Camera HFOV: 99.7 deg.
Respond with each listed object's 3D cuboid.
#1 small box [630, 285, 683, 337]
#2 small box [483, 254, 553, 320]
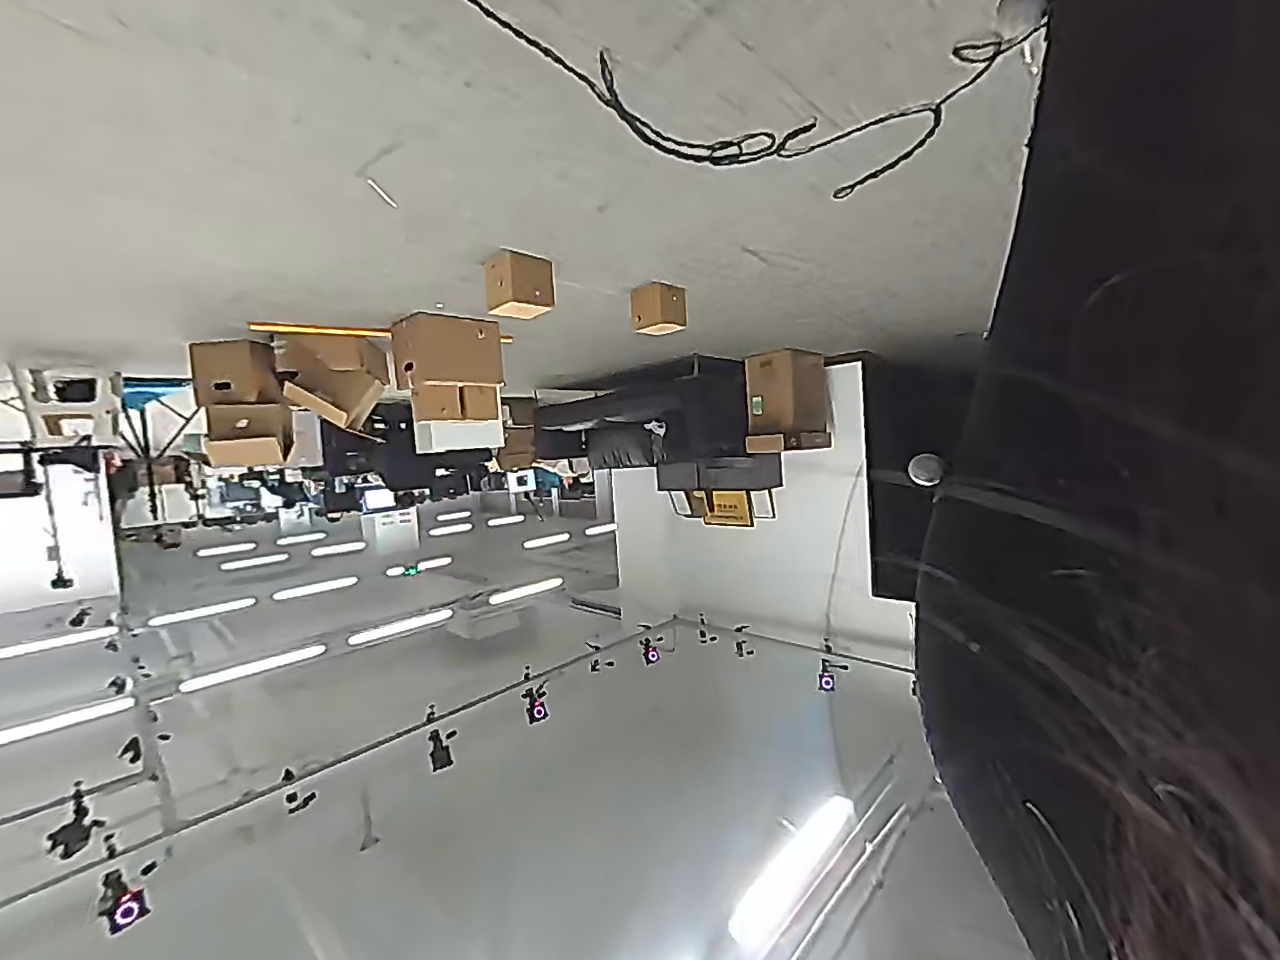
[{"bbox_3d":[0.070,-0.724,2.331,0.179,0.176,0.168,-1,-175,45],"label":"small box"},{"bbox_3d":[-0.423,-0.662,1.859,0.168,0.176,0.179,-1,-175,45],"label":"small box"}]
